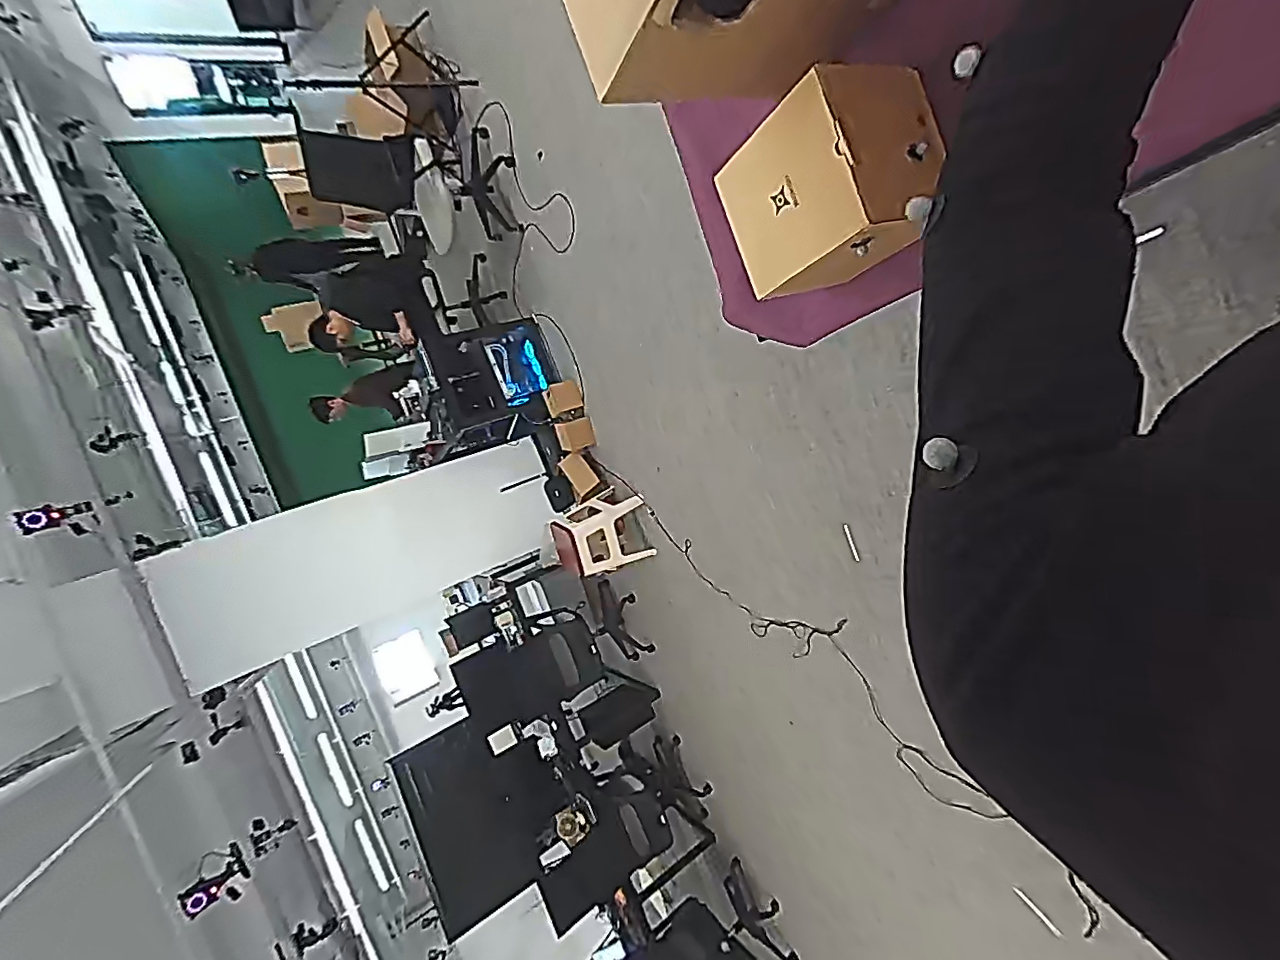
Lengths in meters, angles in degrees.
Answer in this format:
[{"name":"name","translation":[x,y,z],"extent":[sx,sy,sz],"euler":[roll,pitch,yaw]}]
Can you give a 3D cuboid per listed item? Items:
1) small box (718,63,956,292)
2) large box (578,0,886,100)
[{"name":"small box","translation":[0.228,-0.347,0.643],"extent":[0.179,0.176,0.168],"euler":[-19,92,63]},{"name":"large box","translation":[0.089,-0.664,0.506],"extent":[0.320,0.320,0.408],"euler":[-12,102,63]}]
